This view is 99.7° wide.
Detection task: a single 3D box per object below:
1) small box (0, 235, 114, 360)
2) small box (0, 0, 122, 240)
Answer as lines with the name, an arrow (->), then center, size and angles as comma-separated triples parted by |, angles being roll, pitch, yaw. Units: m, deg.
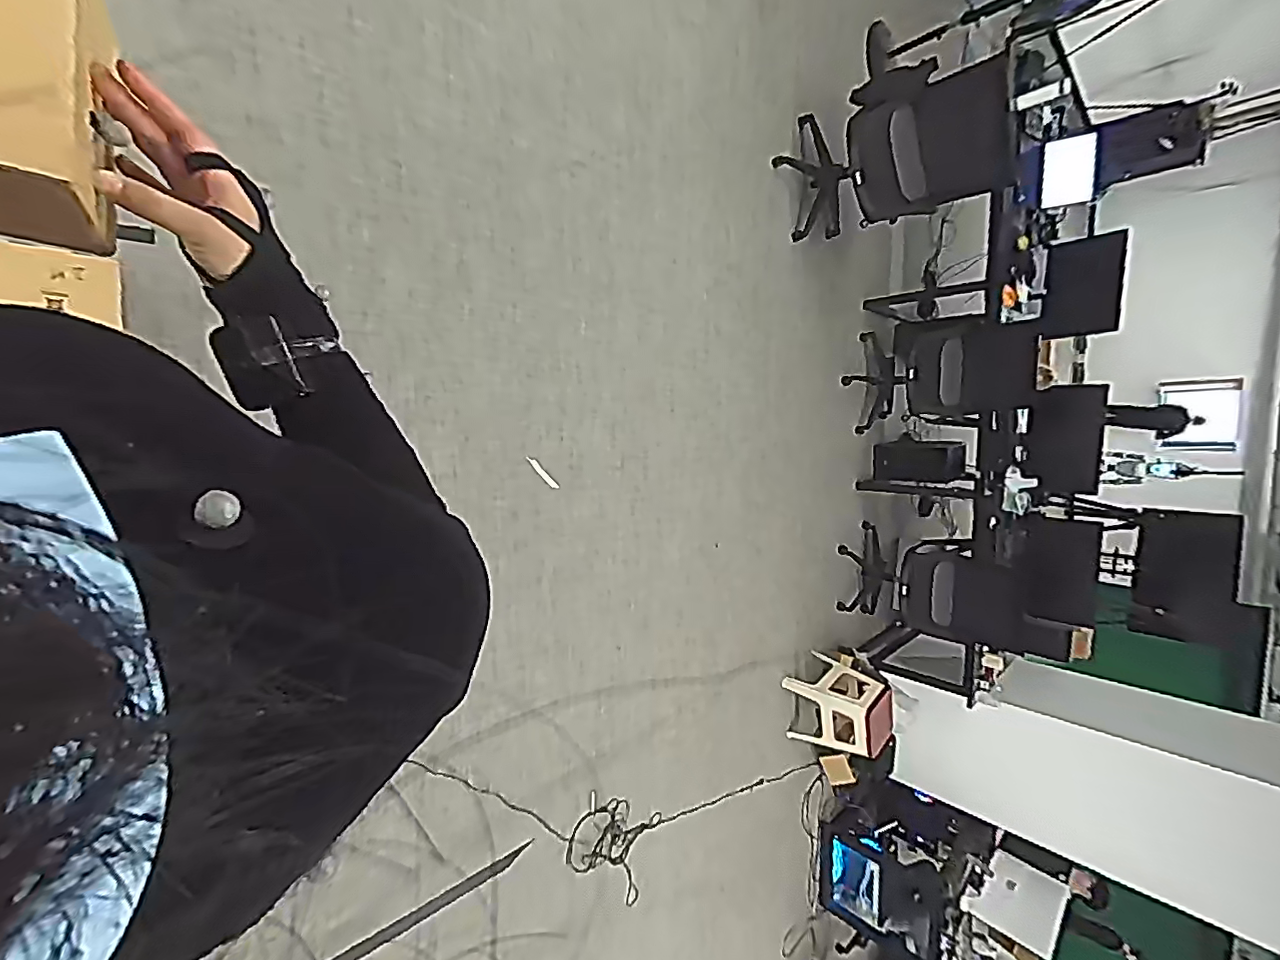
small box -> -1.061, -0.318, 0.970 | 0.168, 0.176, 0.179 | -1, 94, -45
small box -> -0.411, -0.249, 0.294 | 0.179, 0.176, 0.168 | 2, 94, -38
